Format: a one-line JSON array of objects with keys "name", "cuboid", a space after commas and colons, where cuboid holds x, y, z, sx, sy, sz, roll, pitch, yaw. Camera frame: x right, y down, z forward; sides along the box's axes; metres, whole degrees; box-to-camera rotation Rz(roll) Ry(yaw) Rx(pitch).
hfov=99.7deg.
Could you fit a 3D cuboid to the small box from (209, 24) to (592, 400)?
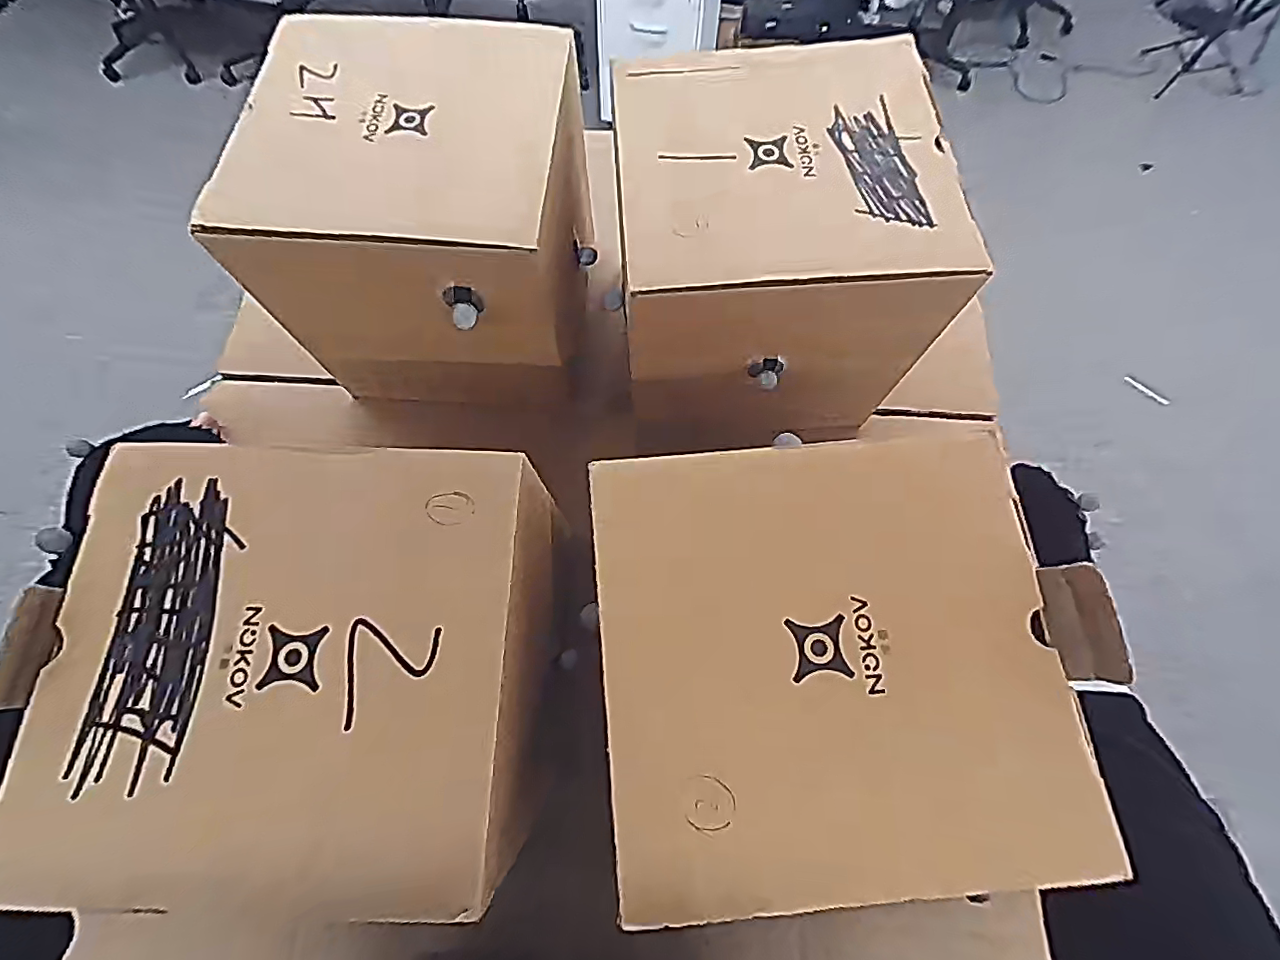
[{"name": "small box", "cuboid": [-0.132, -0.170, 0.381, 0.179, 0.176, 0.168, 5, 69, 2]}]
